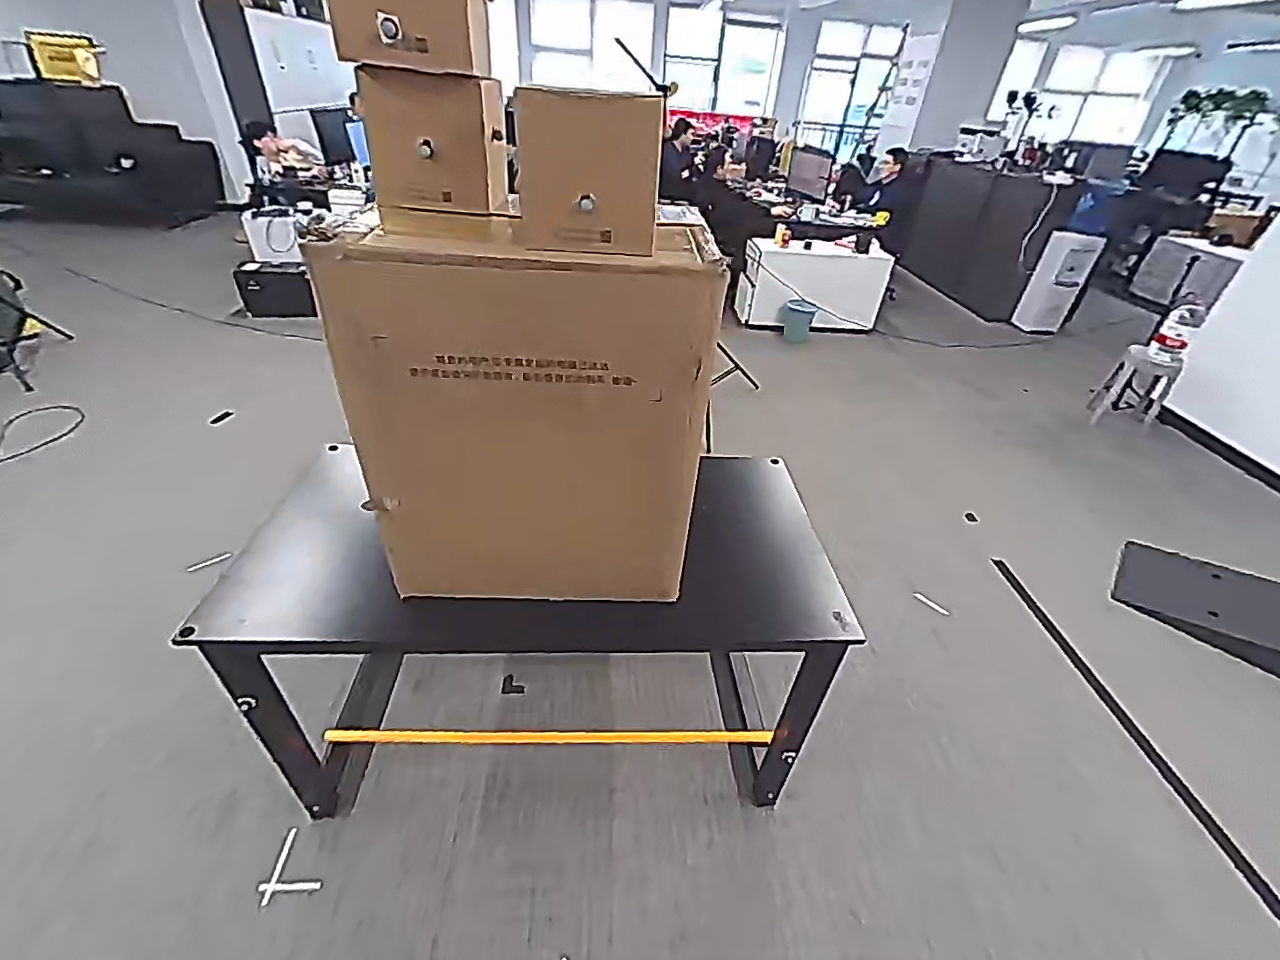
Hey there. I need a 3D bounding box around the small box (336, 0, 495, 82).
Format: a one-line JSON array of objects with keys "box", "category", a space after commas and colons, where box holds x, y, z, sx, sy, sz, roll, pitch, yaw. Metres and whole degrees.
[{"box": [-0.283, -0.620, 0.691, 0.168, 0.176, 0.179, 0, 36, -6], "category": "small box"}]

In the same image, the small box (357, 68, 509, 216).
[{"box": [-0.294, -0.508, 0.814, 0.168, 0.176, 0.179, 3, 36, -5], "category": "small box"}]

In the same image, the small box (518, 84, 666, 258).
[{"box": [-0.056, -0.400, 0.699, 0.168, 0.176, 0.179, 2, 37, -1], "category": "small box"}]
